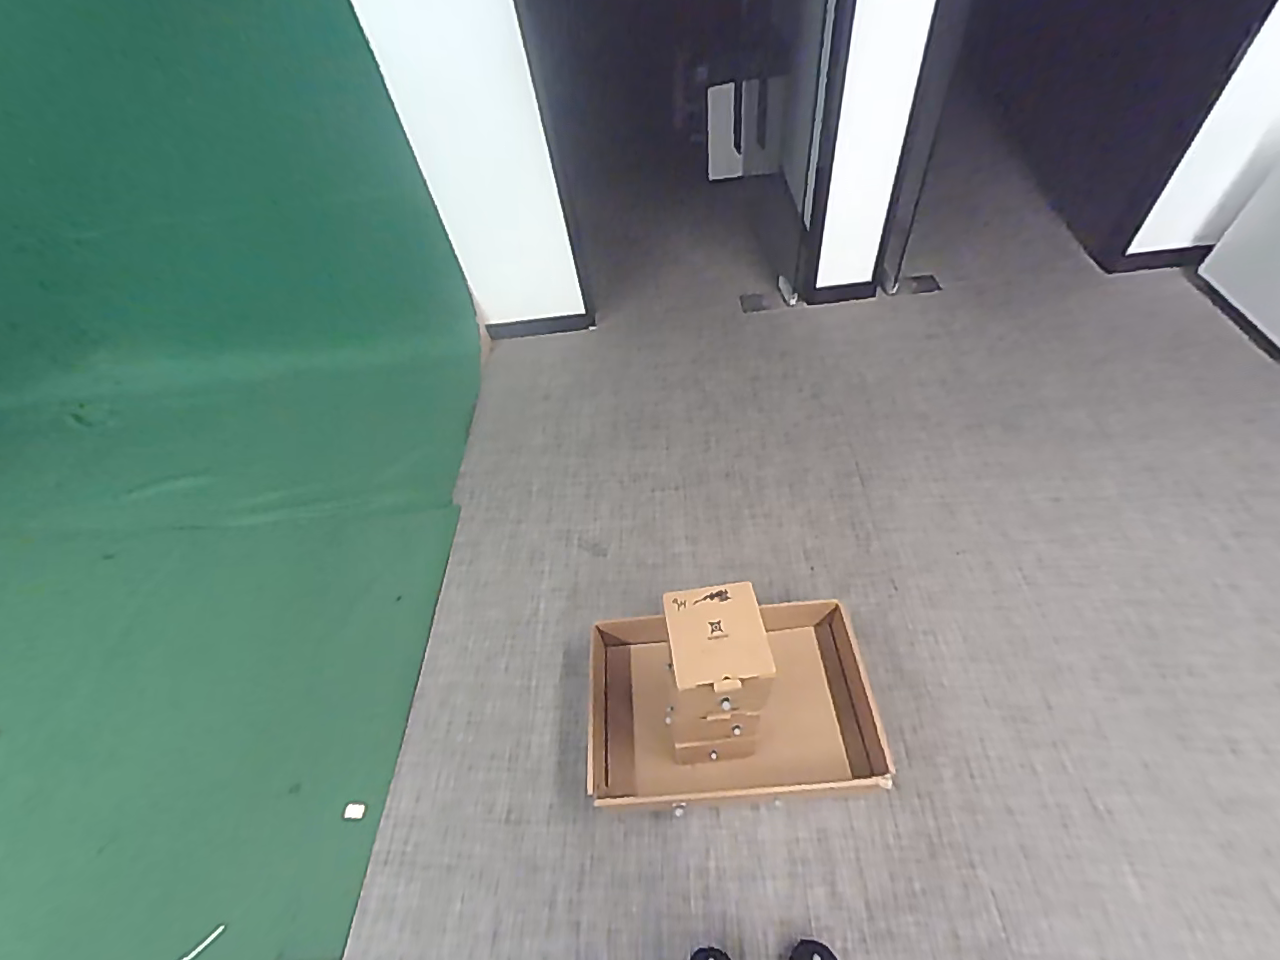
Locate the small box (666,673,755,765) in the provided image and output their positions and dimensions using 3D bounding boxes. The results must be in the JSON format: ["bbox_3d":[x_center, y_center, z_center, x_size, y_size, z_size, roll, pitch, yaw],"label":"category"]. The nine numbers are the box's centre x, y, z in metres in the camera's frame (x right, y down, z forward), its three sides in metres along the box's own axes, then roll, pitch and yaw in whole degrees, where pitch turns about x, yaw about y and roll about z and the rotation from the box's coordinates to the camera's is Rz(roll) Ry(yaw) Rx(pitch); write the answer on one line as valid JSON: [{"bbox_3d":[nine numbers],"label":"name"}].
[{"bbox_3d":[0.156,0.535,1.227,0.179,0.176,0.168,-8,50,3],"label":"small box"}]

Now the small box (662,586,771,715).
[{"bbox_3d":[0.134,0.318,0.987,0.168,0.176,0.179,-7,51,1],"label":"small box"}]

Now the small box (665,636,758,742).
[{"bbox_3d":[0.142,0.426,1.109,0.168,0.176,0.179,-5,49,2],"label":"small box"}]
